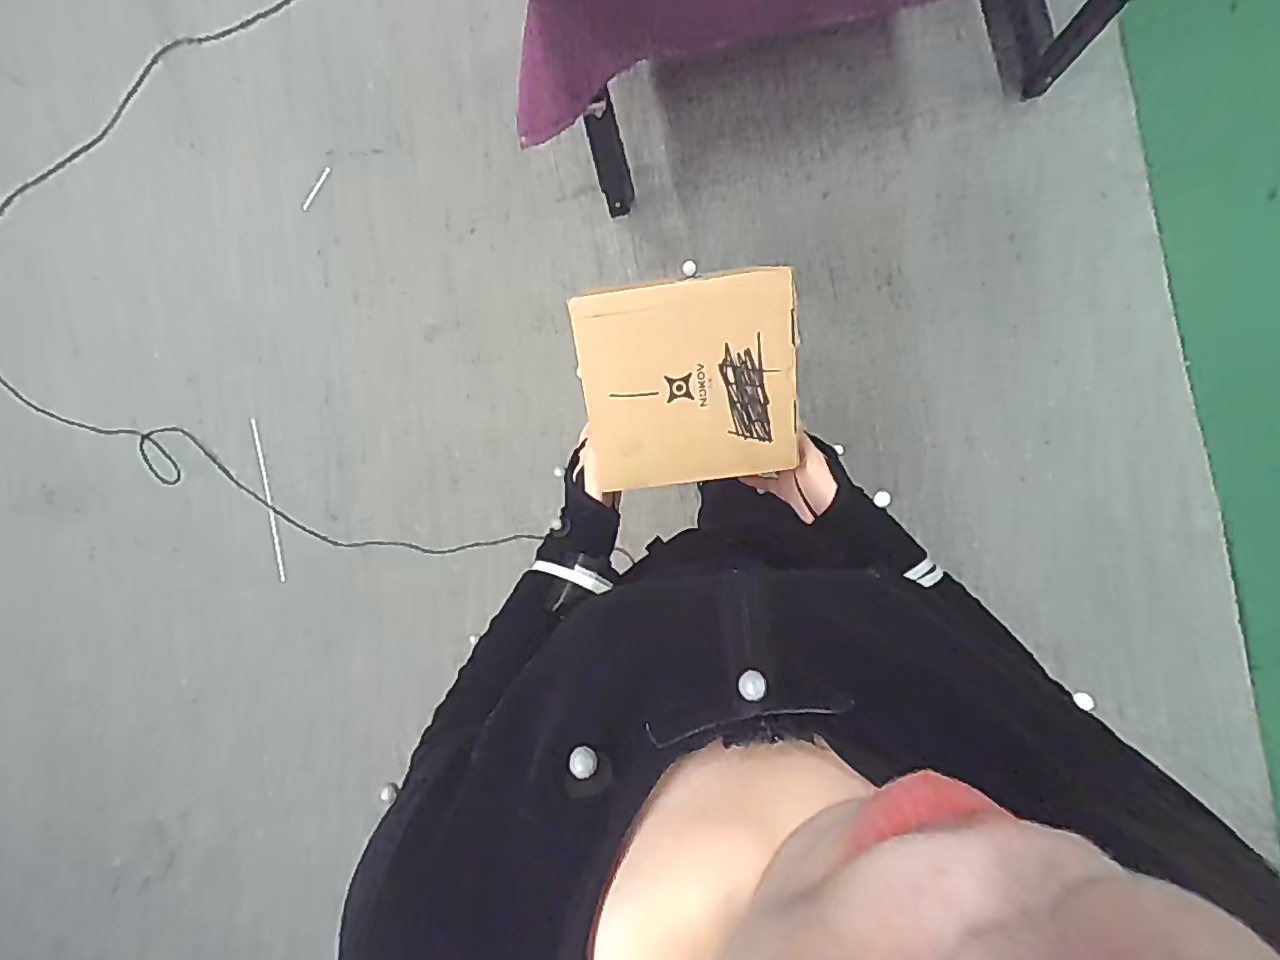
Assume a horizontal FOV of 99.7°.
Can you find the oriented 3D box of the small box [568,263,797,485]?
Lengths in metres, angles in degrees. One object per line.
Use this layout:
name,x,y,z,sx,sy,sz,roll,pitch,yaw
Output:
small box,0.039,-0.109,0.511,0.179,0.176,0.168,-7,111,3
